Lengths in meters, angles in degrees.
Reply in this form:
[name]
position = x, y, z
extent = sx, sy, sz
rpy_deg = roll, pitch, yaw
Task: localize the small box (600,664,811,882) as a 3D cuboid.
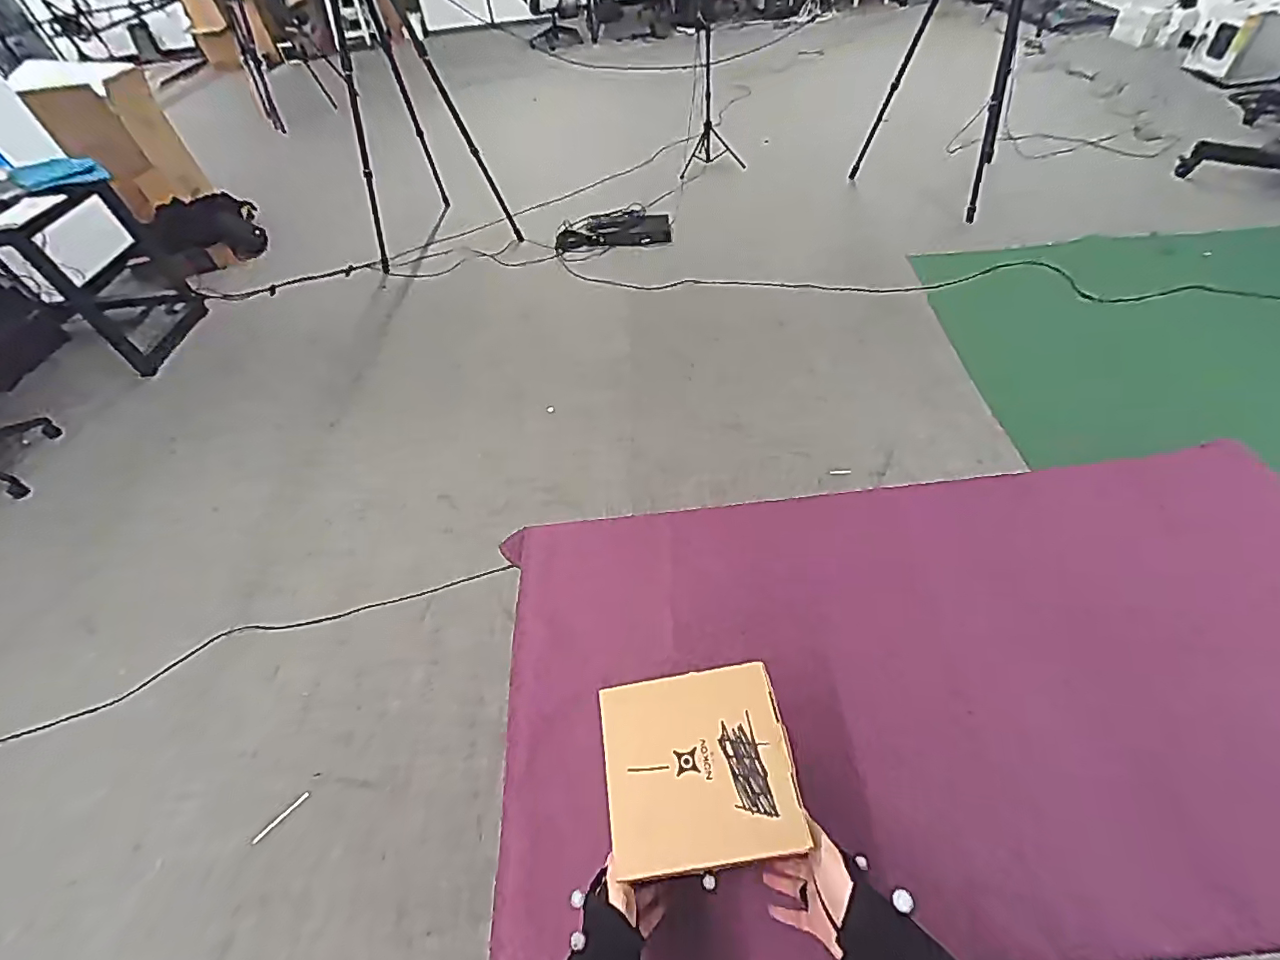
[small box]
position = 0.063, 0.313, 0.575
extent = 0.179, 0.176, 0.168
rpy_deg = -11, 52, 2
